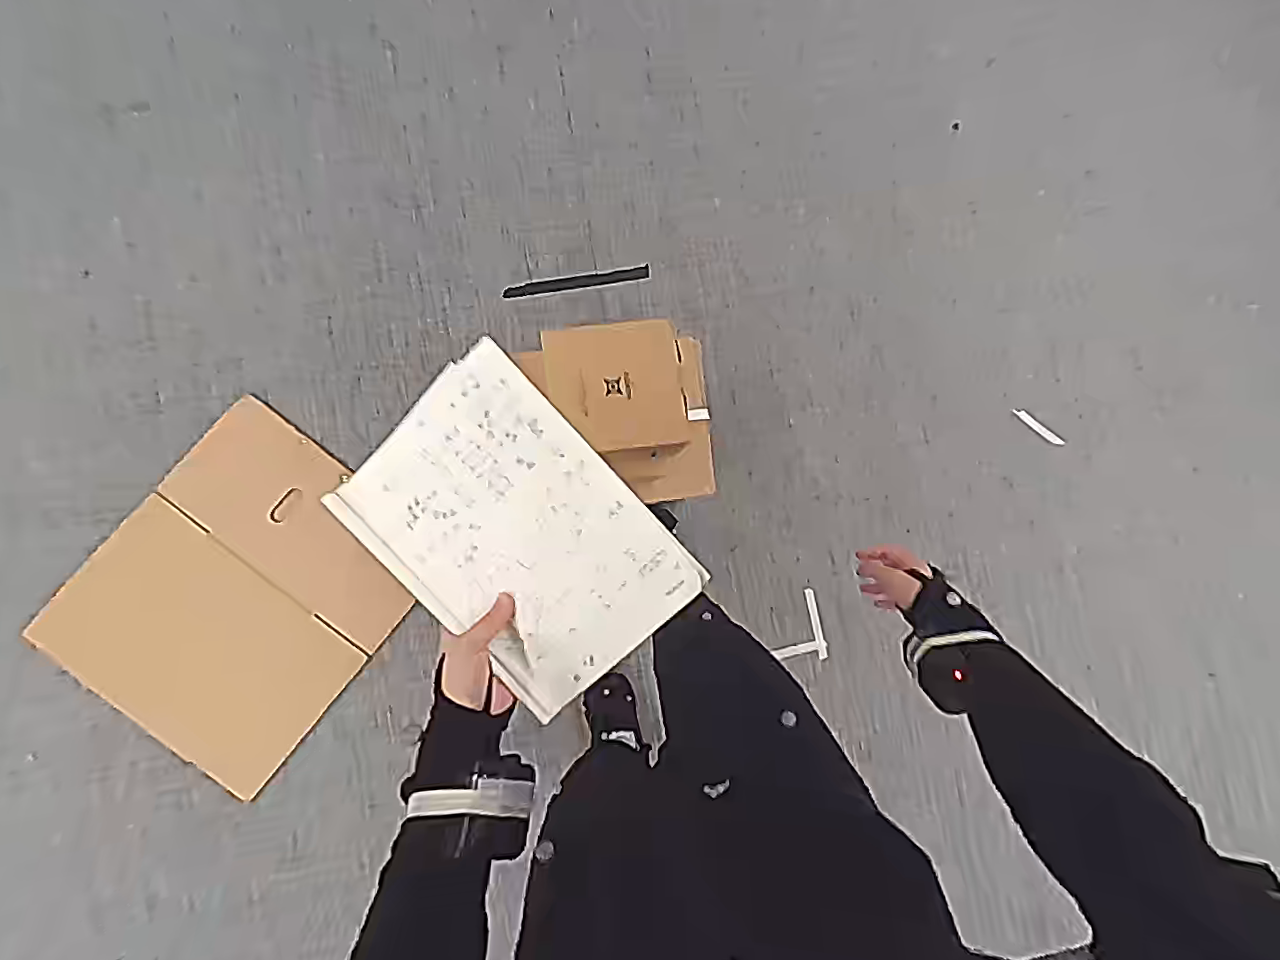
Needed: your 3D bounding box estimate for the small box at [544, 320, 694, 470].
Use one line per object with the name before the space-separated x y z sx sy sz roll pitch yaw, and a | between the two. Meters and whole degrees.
small box | -0.033 -0.111 0.763 0.179 0.176 0.168 -8 85 -4
